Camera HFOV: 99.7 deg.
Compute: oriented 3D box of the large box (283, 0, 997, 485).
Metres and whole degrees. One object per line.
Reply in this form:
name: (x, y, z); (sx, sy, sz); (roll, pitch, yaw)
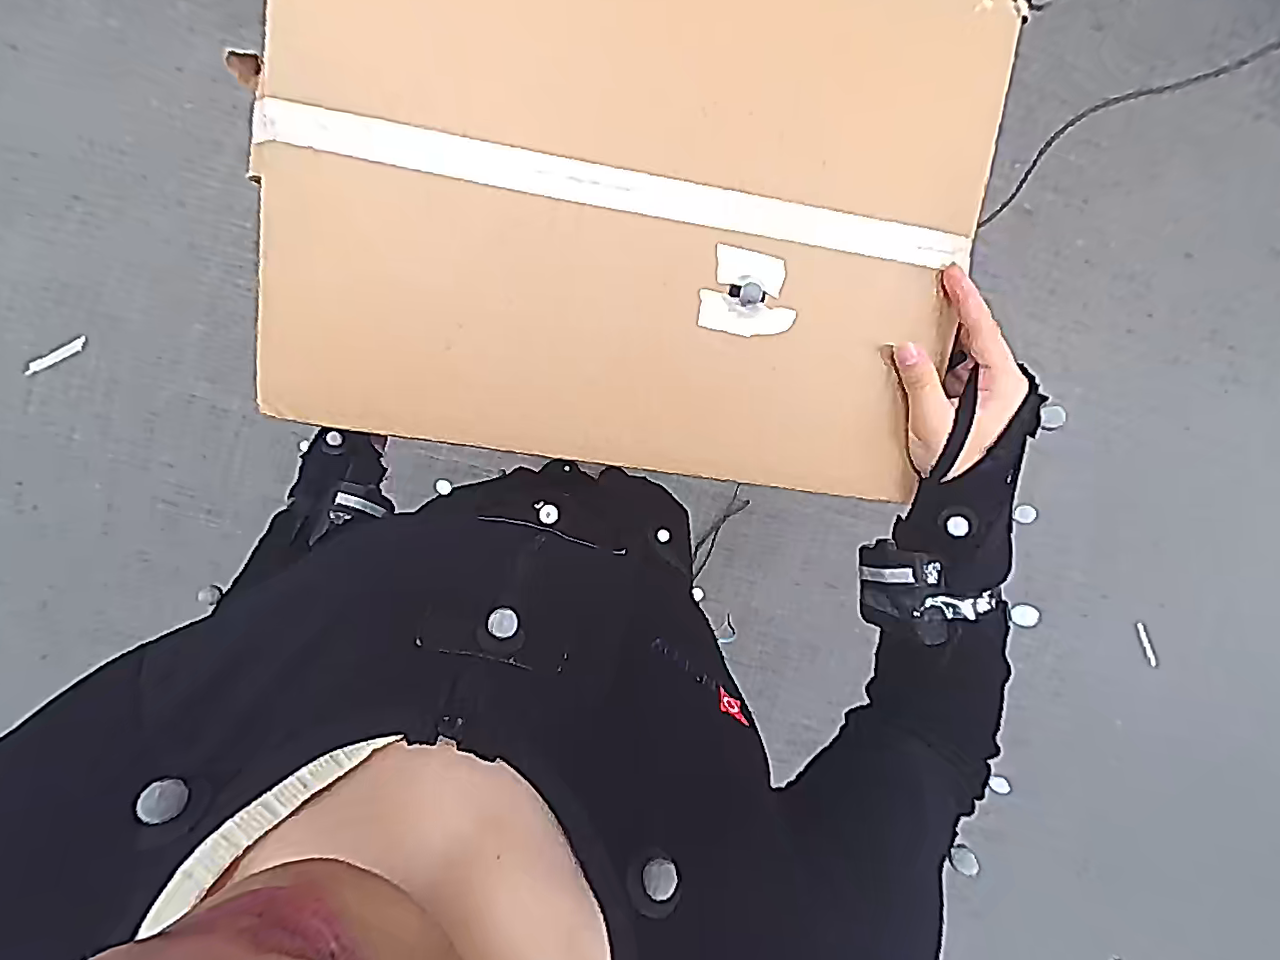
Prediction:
large box: (-0.015, -0.189, 0.466); (0.408, 0.320, 0.320); (7, 100, -8)
